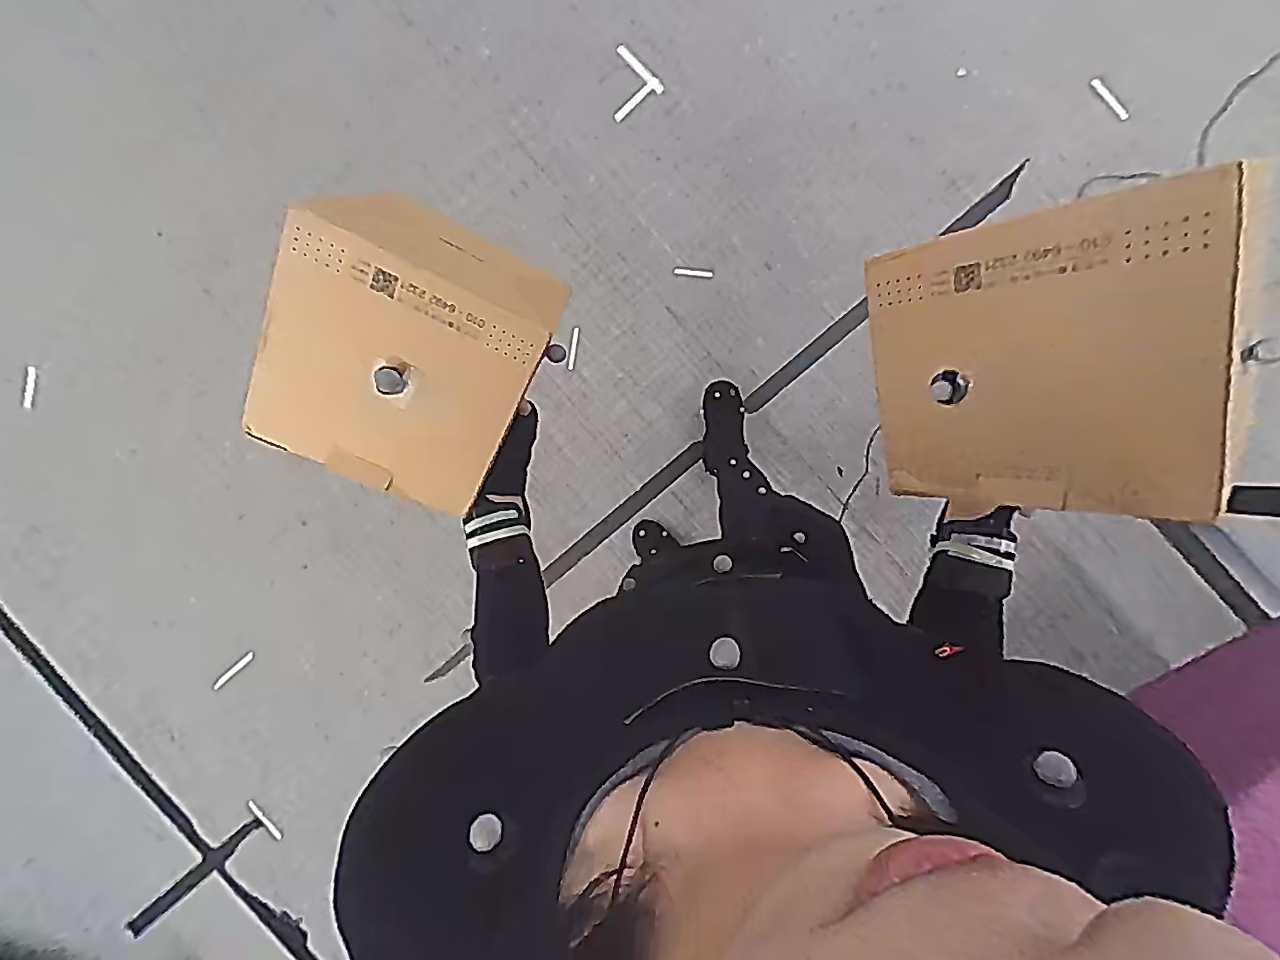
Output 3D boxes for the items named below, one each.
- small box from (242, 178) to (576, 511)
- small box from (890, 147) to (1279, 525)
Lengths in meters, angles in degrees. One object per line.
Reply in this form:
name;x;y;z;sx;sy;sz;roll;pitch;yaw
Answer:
small box;-0.162;-0.112;0.422;0.168;0.179;0.176;26;115;-15
small box;0.278;-0.090;0.339;0.179;0.168;0.176;-25;111;-35
